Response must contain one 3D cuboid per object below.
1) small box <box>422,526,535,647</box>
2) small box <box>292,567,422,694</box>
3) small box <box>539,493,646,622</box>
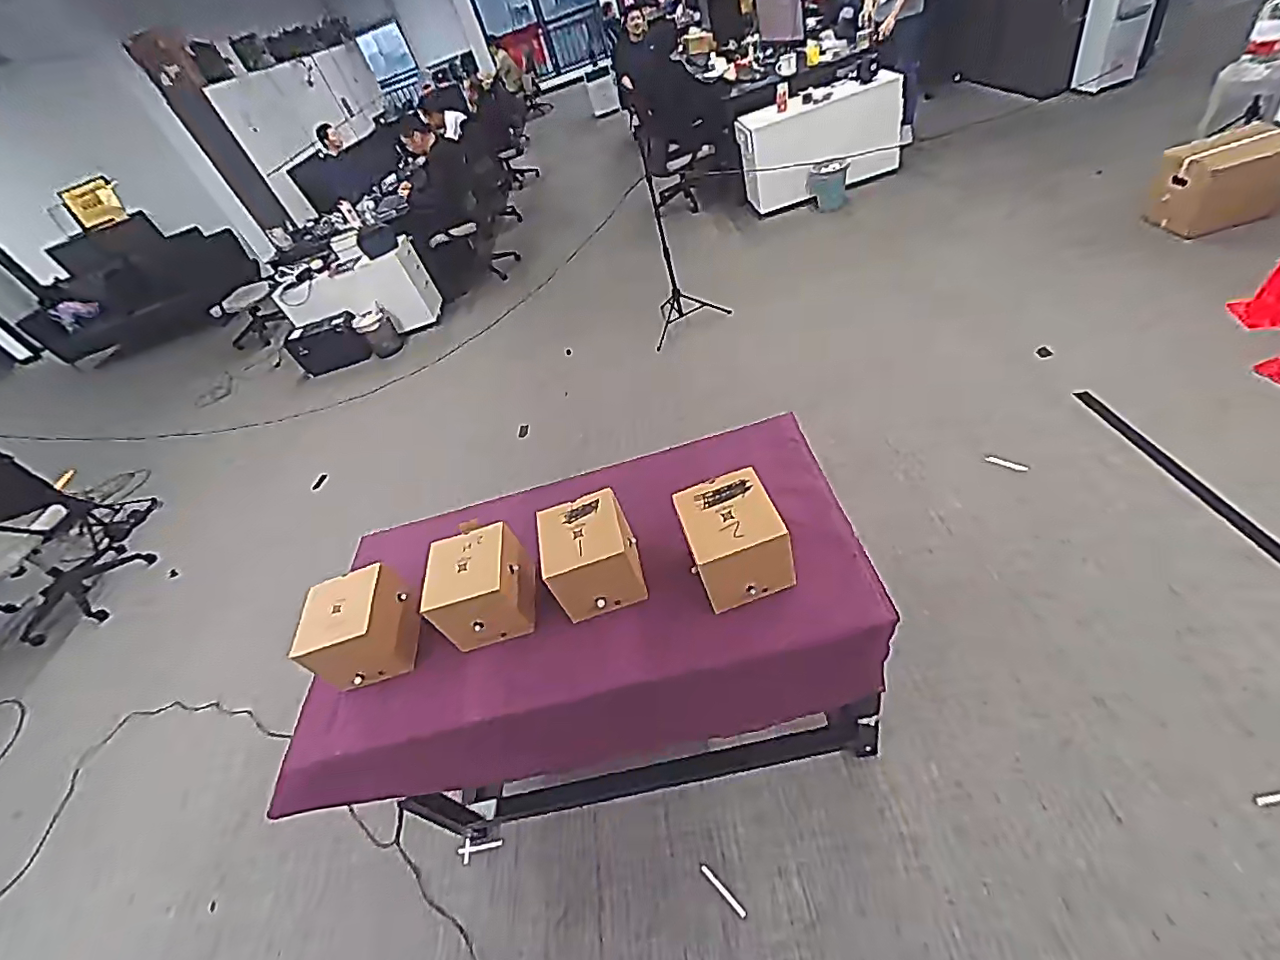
[{"bbox_3d":[-0.329,0.232,1.139,0.168,0.176,0.179,-17,43,5],"label":"small box"},{"bbox_3d":[-0.588,0.322,1.153,0.168,0.176,0.179,-19,42,4],"label":"small box"},{"bbox_3d":[-0.099,0.162,1.119,0.168,0.176,0.179,-20,43,3],"label":"small box"}]
